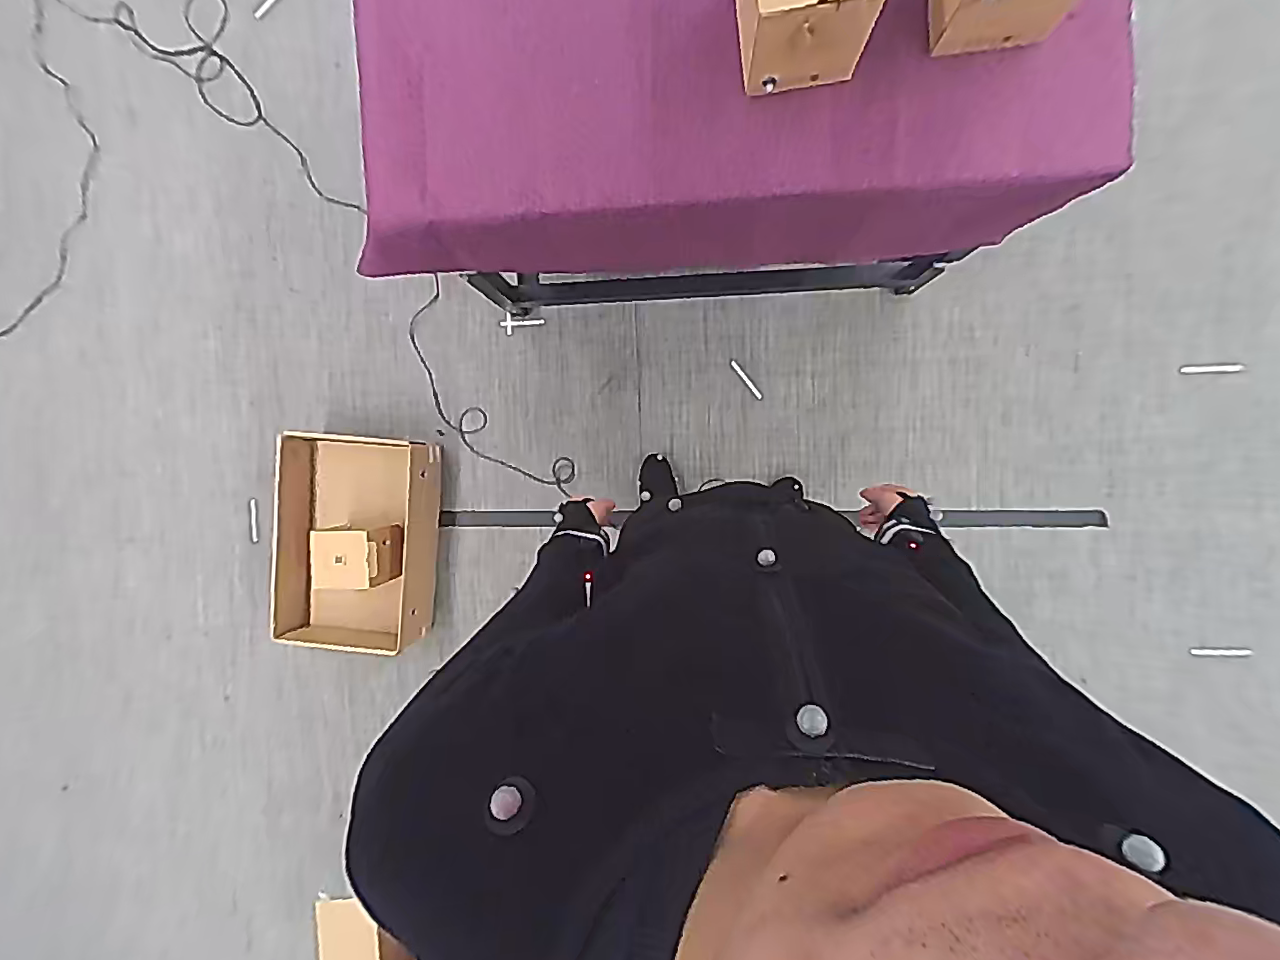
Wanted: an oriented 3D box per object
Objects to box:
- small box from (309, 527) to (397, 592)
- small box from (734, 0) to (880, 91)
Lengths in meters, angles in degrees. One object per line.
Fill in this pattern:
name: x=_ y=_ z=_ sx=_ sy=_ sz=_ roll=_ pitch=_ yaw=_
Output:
small box: x=-0.832 y=0.228 z=1.585 sx=0.179 sy=0.176 sz=0.168 roll=-1 pitch=91 yaw=5
small box: x=0.231 y=-0.697 z=0.774 sx=0.168 sy=0.176 sz=0.179 roll=-7 pitch=91 yaw=5
